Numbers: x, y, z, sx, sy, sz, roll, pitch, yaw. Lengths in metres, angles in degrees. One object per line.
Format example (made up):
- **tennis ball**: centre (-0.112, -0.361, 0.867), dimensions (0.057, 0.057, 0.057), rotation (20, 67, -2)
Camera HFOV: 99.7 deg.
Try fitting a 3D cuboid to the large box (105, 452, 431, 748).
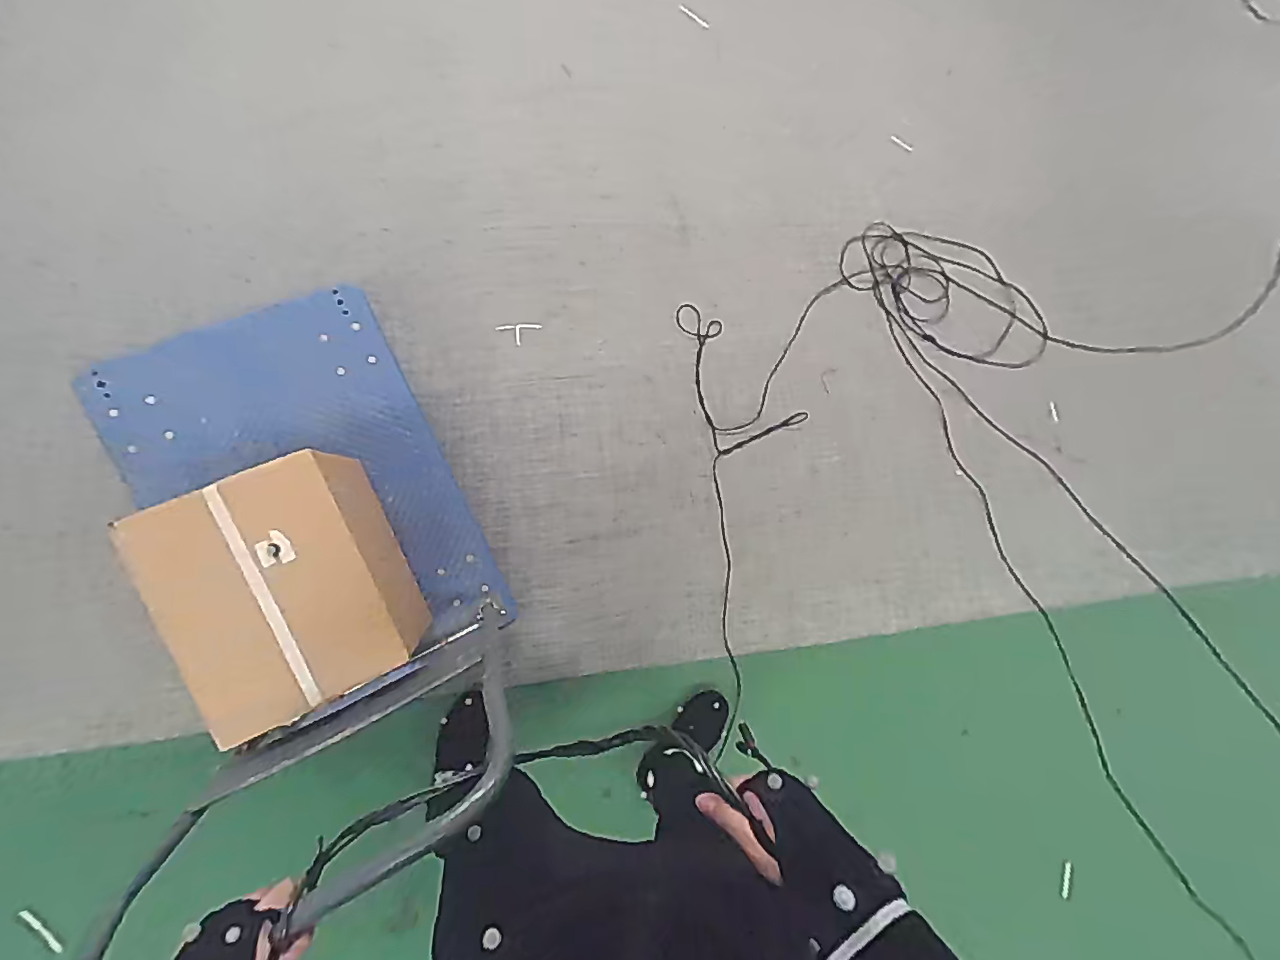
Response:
- **large box**: centre (-0.650, 0.198, 1.031), dimensions (0.320, 0.320, 0.408), rotation (-25, 94, -14)
